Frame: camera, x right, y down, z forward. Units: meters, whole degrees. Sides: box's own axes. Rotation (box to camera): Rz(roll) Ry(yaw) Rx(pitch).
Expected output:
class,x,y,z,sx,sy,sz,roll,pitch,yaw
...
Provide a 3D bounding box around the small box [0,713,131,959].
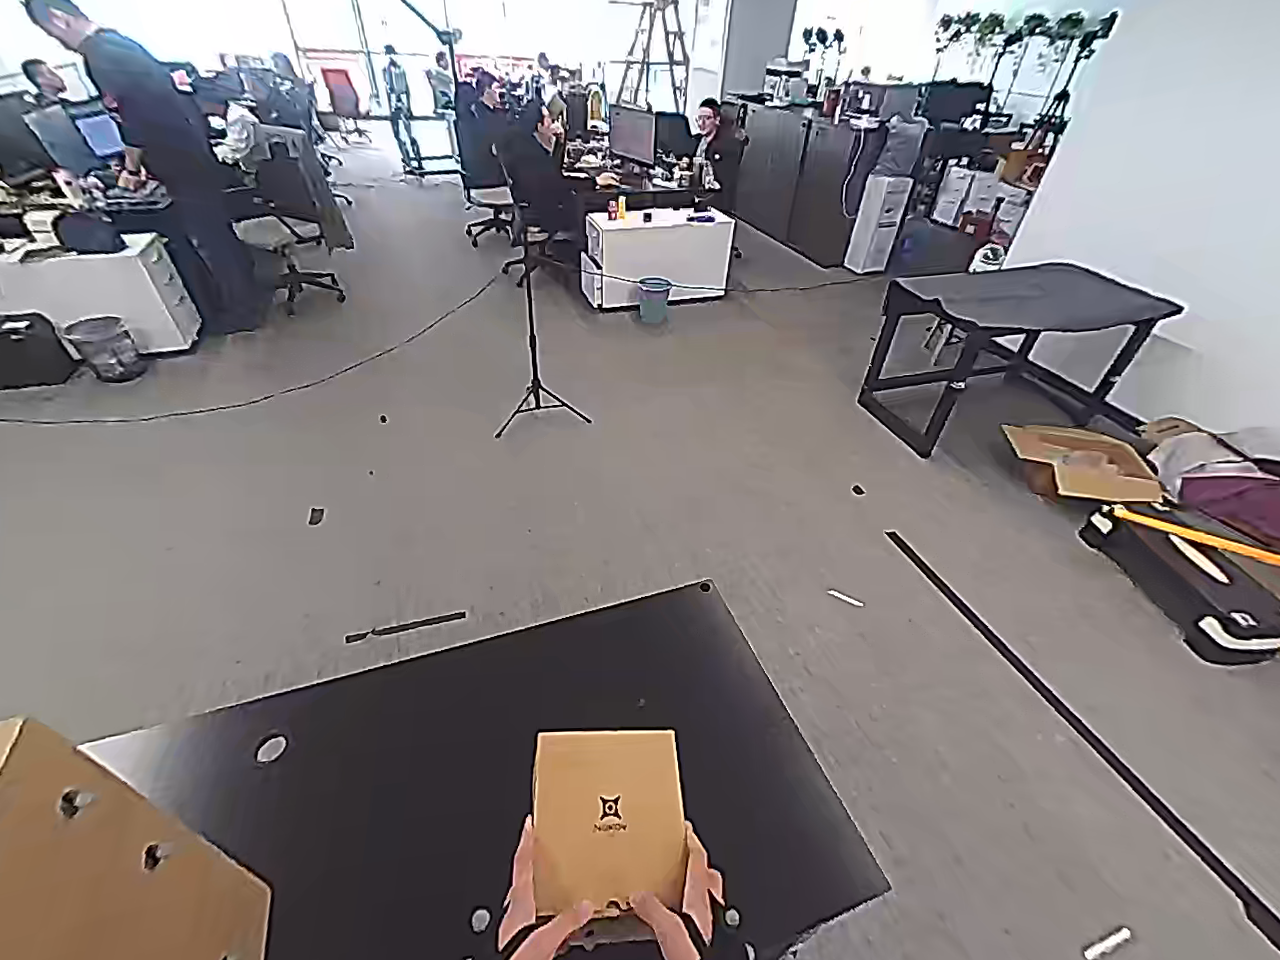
class,x,y,z,sx,sy,sz,roll,pitch,yaw
small box,-0.532,0.314,0.396,0.168,0.176,0.179,-13,43,-17

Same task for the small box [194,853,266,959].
class,x,y,z,sx,sy,sz,roll,pitch,yaw
small box,-0.548,0.567,0.604,0.168,0.176,0.179,-12,42,-18

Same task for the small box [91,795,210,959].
class,x,y,z,sx,sy,sz,roll,pitch,yaw
small box,-0.540,0.439,0.500,0.168,0.176,0.179,-12,42,-17

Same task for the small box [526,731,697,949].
class,x,y,z,sx,sy,sz,roll,pitch,yaw
small box,-0.043,0.415,0.629,0.168,0.176,0.179,3,43,-9
